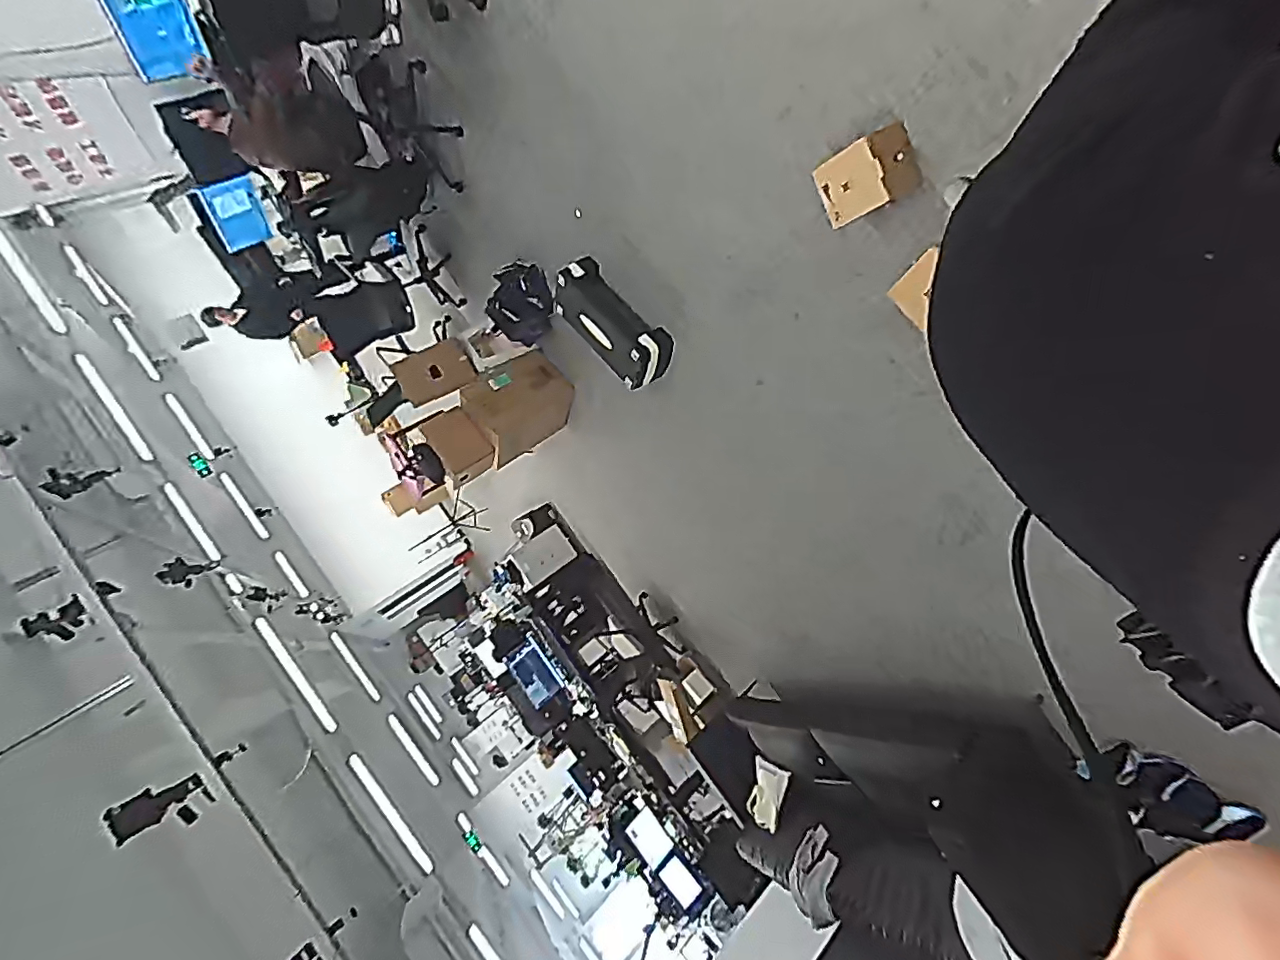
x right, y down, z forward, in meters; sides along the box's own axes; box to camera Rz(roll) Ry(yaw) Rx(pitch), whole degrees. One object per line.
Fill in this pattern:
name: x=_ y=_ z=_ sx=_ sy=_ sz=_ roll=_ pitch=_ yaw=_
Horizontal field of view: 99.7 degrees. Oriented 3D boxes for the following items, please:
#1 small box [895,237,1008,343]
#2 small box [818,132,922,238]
small box: x=0.826 y=-0.502 z=1.424 sx=0.168 sy=0.176 sz=0.179 roll=51 pitch=156 yaw=10
small box: x=0.617 y=-0.783 z=1.435 sx=0.179 sy=0.176 sz=0.168 roll=-4 pitch=118 yaw=61
